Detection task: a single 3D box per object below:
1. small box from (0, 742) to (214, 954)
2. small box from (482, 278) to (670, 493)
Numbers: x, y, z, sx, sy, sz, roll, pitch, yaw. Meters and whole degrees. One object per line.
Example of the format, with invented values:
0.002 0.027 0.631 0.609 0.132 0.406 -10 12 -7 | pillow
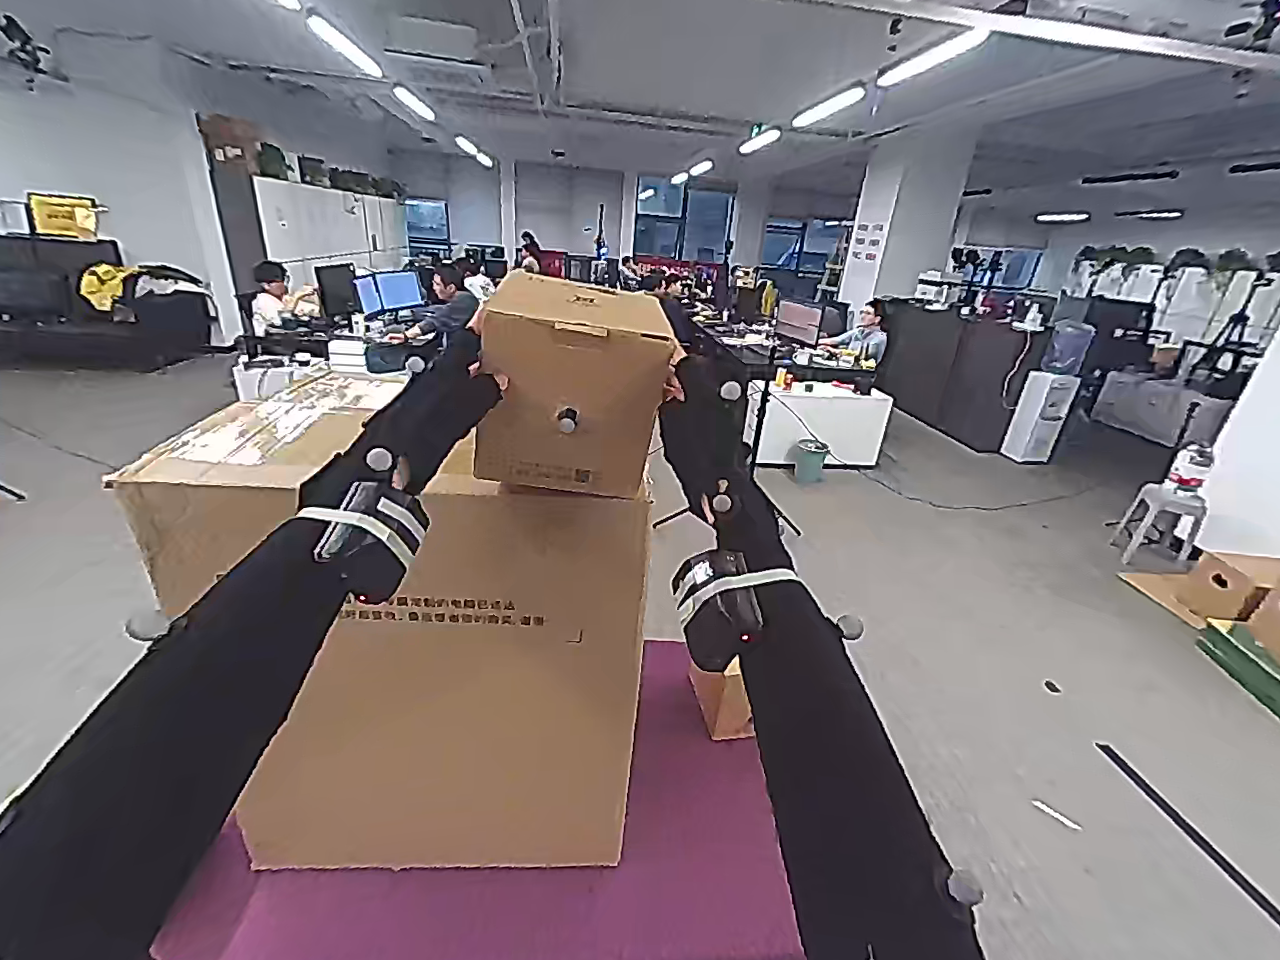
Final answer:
-0.705 0.479 0.710 0.168 0.176 0.179 5 21 -7 | small box
-0.069 -0.102 0.575 0.168 0.176 0.179 7 29 -8 | small box
